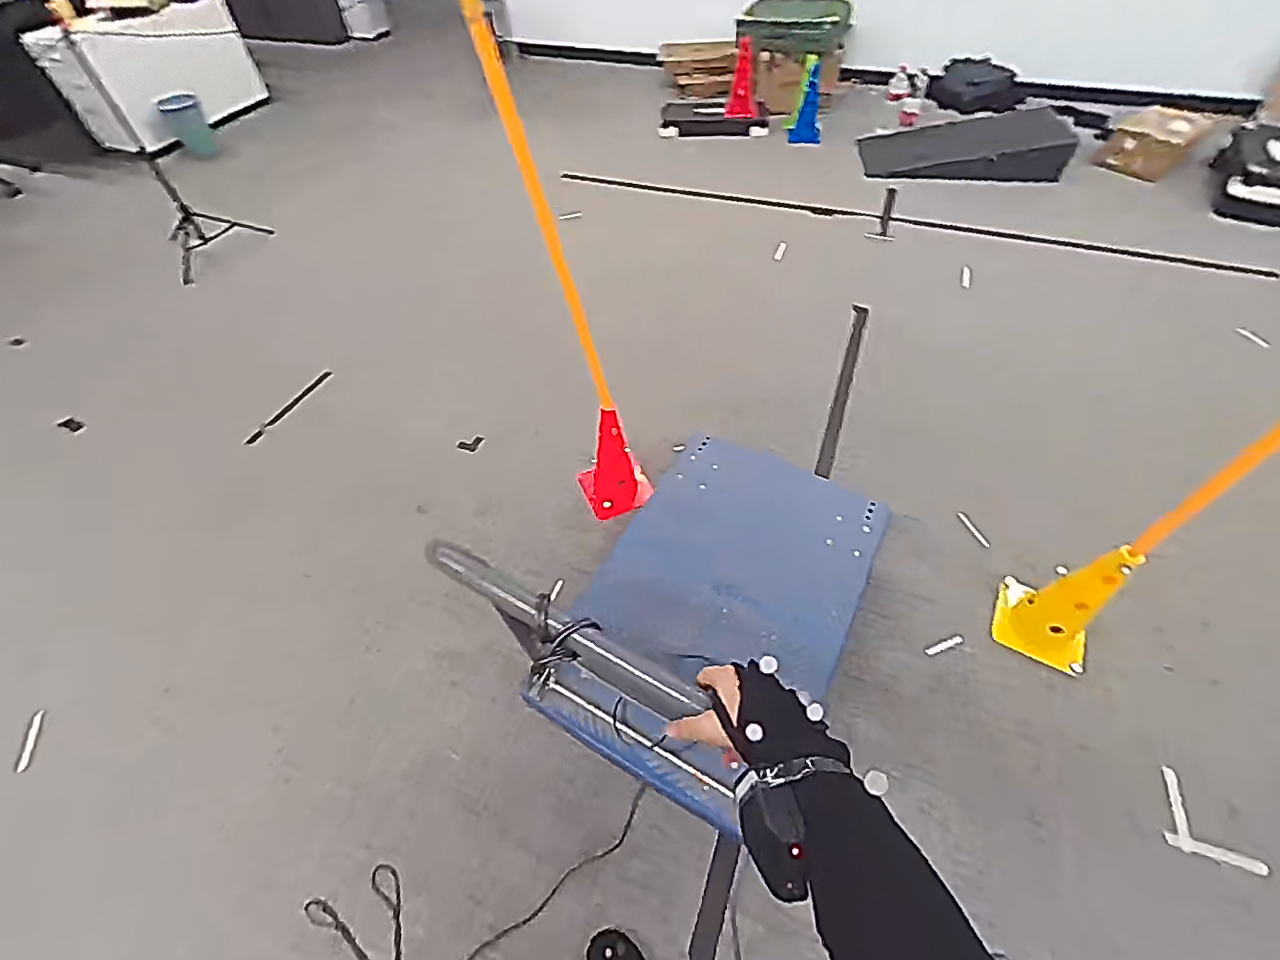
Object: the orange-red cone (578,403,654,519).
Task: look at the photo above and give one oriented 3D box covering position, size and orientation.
[{"bbox_3d":[-0.078,-0.083,1.548,0.199,0.360,0.198,-19,55,-14],"label":"orange-red cone"}]
